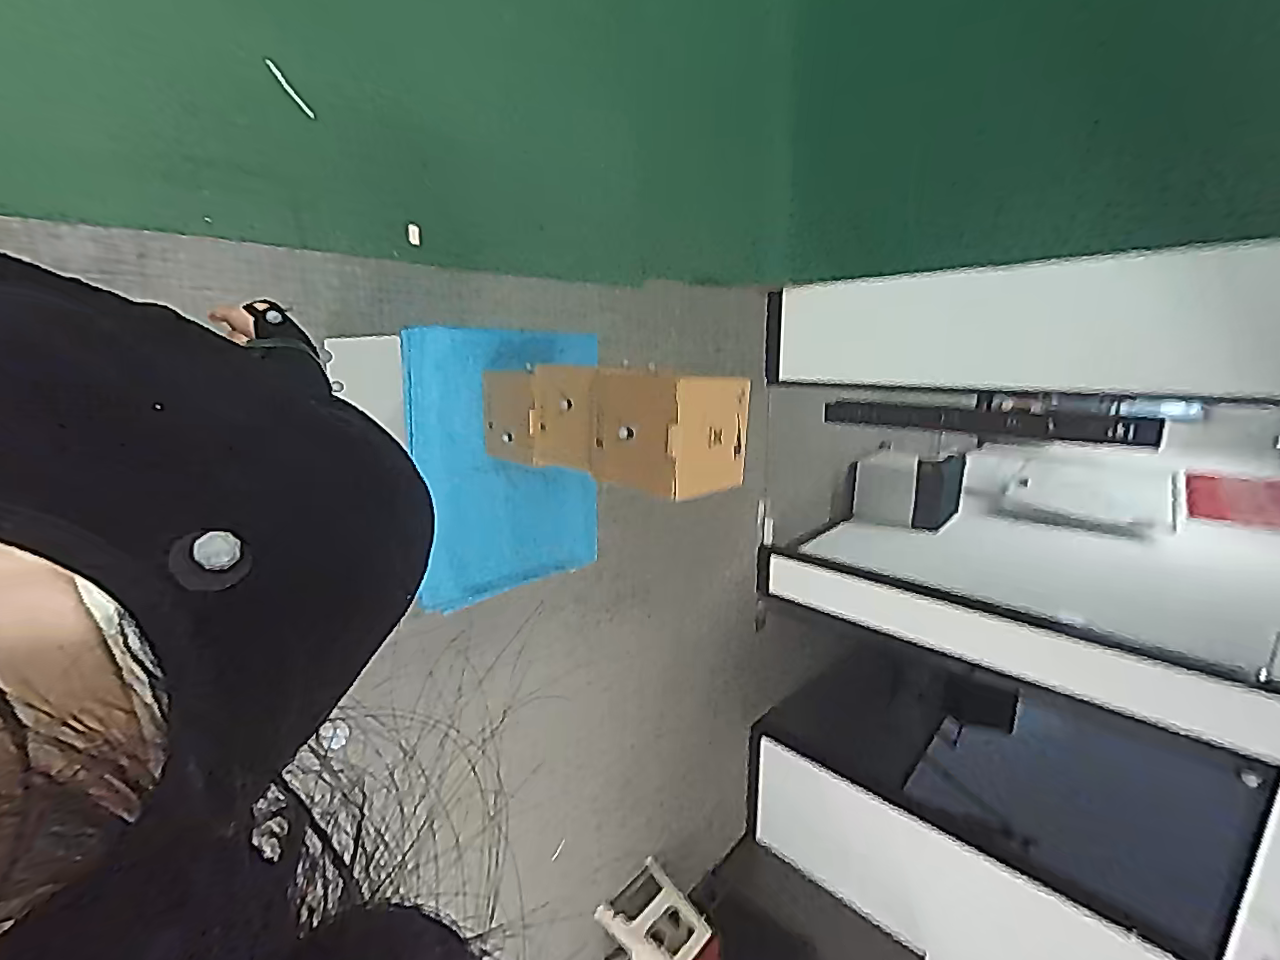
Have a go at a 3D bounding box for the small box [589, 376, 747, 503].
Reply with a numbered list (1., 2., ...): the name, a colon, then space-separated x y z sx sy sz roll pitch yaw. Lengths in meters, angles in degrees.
1. small box: 0.040 -0.069 0.819 0.179 0.176 0.168 -9 106 -47

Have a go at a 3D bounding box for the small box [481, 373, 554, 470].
1. small box: -0.192 -0.118 1.043 0.179 0.176 0.168 -10 108 -47

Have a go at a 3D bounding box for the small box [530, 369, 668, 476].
1. small box: -0.073 -0.103 0.934 0.179 0.176 0.168 -9 107 -47
